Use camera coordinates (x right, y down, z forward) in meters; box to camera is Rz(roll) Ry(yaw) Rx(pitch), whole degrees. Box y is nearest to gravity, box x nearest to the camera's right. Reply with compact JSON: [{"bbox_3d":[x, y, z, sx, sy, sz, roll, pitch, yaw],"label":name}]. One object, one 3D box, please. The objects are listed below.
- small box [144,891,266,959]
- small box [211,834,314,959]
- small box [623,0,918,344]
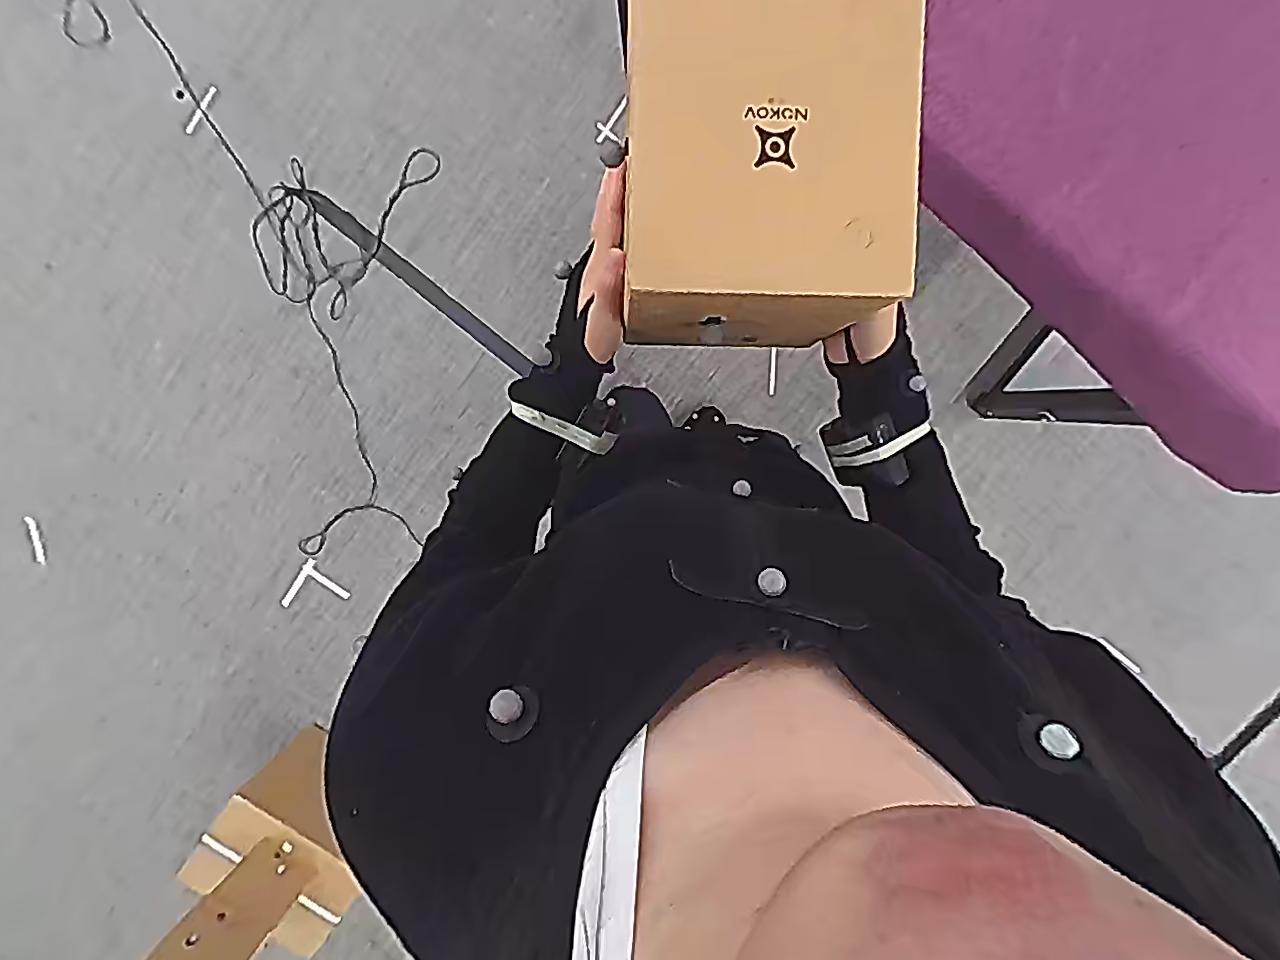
[{"bbox_3d":[-0.940,1.030,1.141,0.168,0.176,0.179,34,99,-2],"label":"small box"},{"bbox_3d":[-0.934,1.014,1.302,0.168,0.176,0.179,35,97,-4],"label":"small box"},{"bbox_3d":[0.073,-0.199,0.390,0.168,0.176,0.179,0,93,-3],"label":"small box"}]
